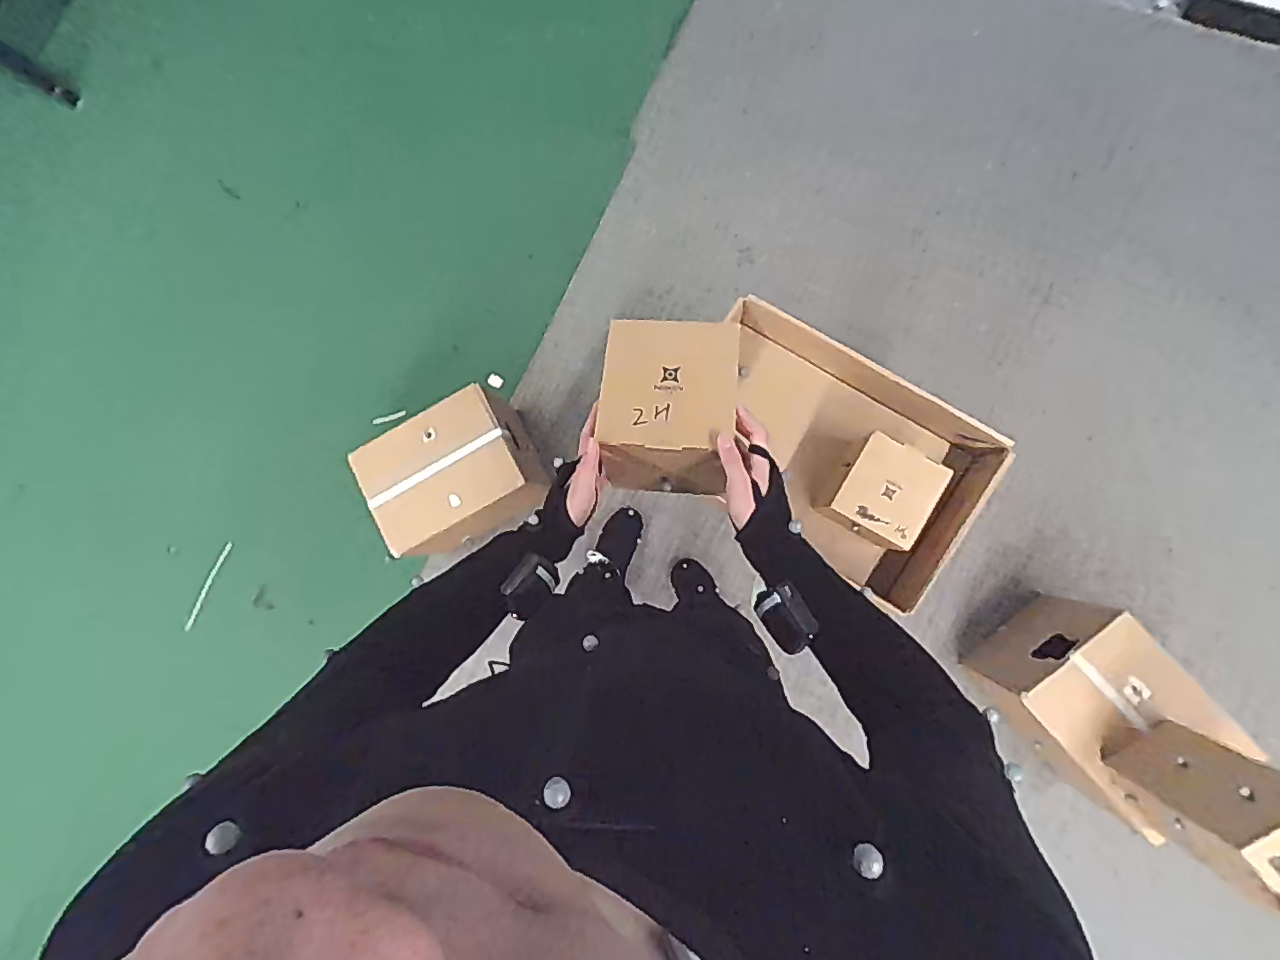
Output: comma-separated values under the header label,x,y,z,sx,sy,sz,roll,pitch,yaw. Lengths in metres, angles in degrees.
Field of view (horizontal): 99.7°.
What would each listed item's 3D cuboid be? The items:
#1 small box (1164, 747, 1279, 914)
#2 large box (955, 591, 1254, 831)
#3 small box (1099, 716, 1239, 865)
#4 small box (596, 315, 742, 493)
label,x,y,z,sx,sy,sz,roll,pitch,yaw
small box,1.081,0.606,0.938,0.179,0.176,0.168,-34,82,3
large box,1.110,0.541,1.351,0.320,0.320,0.408,-41,82,1
small box,1.109,0.616,1.099,0.179,0.176,0.168,-35,82,5
small box,0.043,-0.096,0.723,0.168,0.176,0.179,3,70,7
